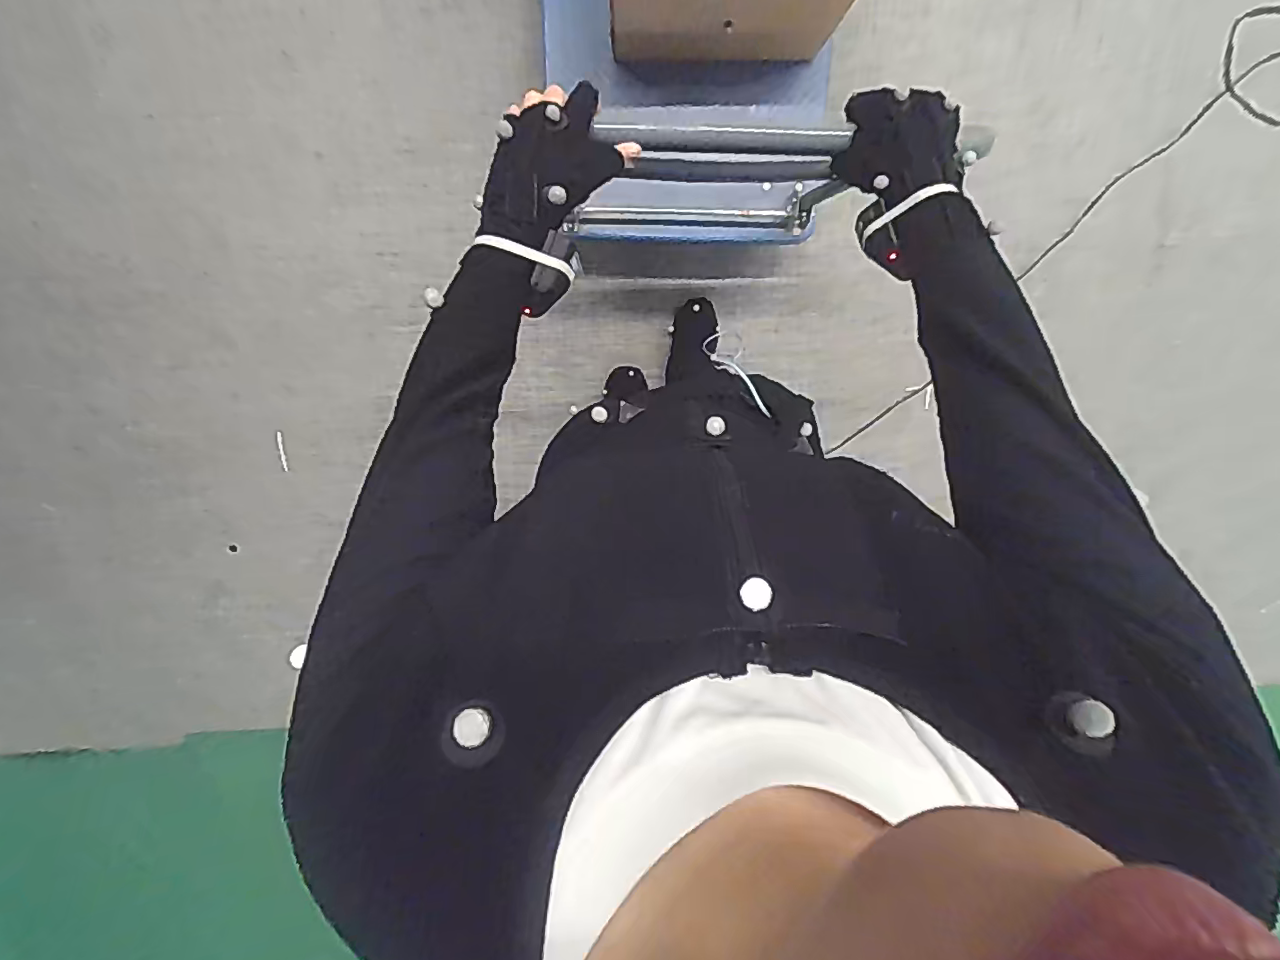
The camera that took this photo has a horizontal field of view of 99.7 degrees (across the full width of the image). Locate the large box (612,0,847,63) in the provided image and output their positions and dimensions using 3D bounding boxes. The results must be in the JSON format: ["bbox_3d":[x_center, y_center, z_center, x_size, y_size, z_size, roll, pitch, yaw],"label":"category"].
[{"bbox_3d":[0.148,-0.955,0.909,0.408,0.320,0.320,-3,105,0],"label":"large box"}]
